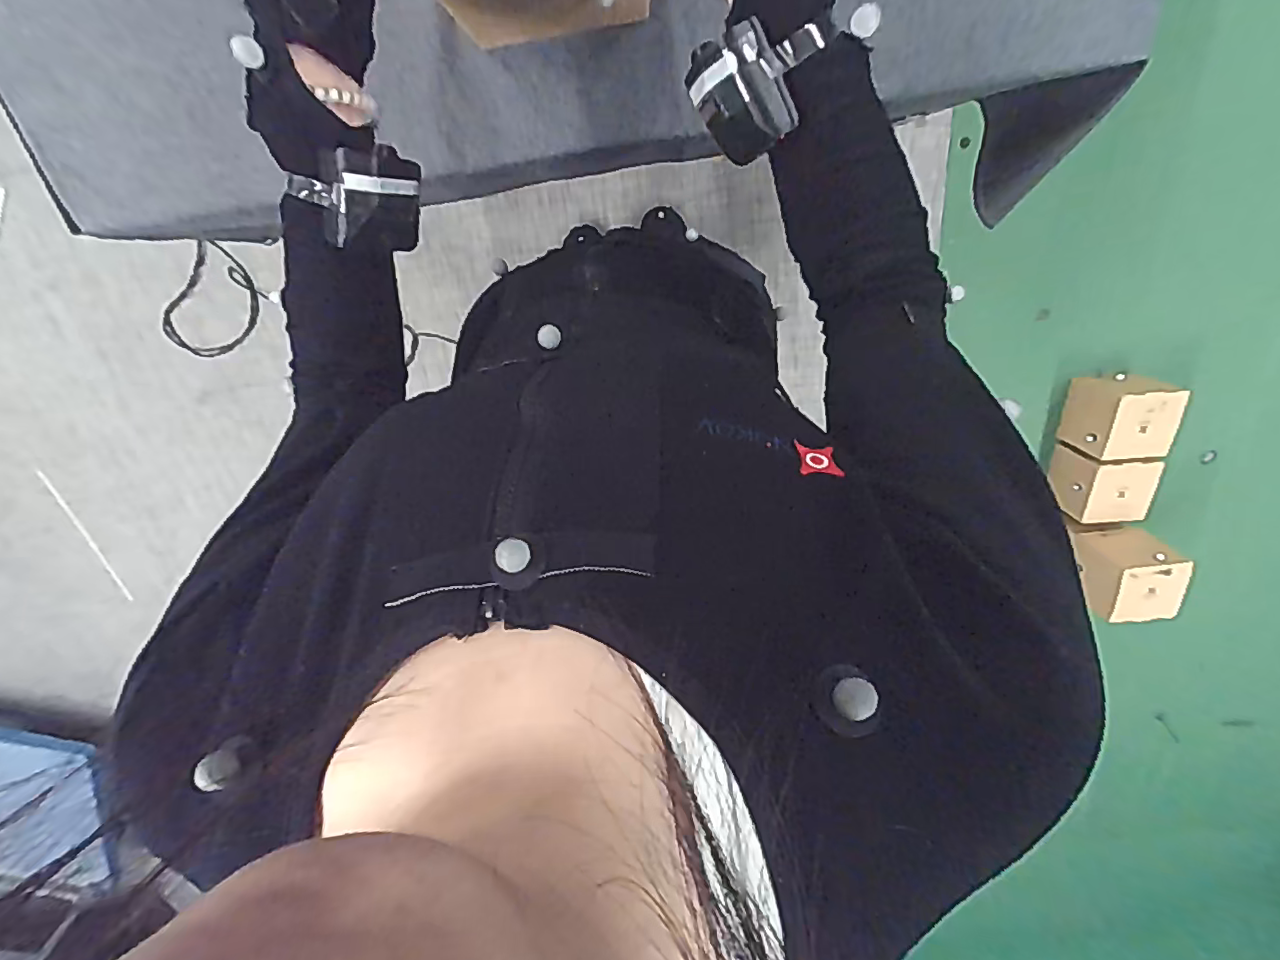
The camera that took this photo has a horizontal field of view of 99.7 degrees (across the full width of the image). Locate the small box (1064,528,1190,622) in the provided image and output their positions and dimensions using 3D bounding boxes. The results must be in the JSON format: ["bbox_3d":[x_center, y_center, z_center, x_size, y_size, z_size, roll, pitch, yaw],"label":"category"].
[{"bbox_3d":[1.280,0.250,1.440,0.168,0.176,0.179,-7,116,3],"label":"small box"}]
